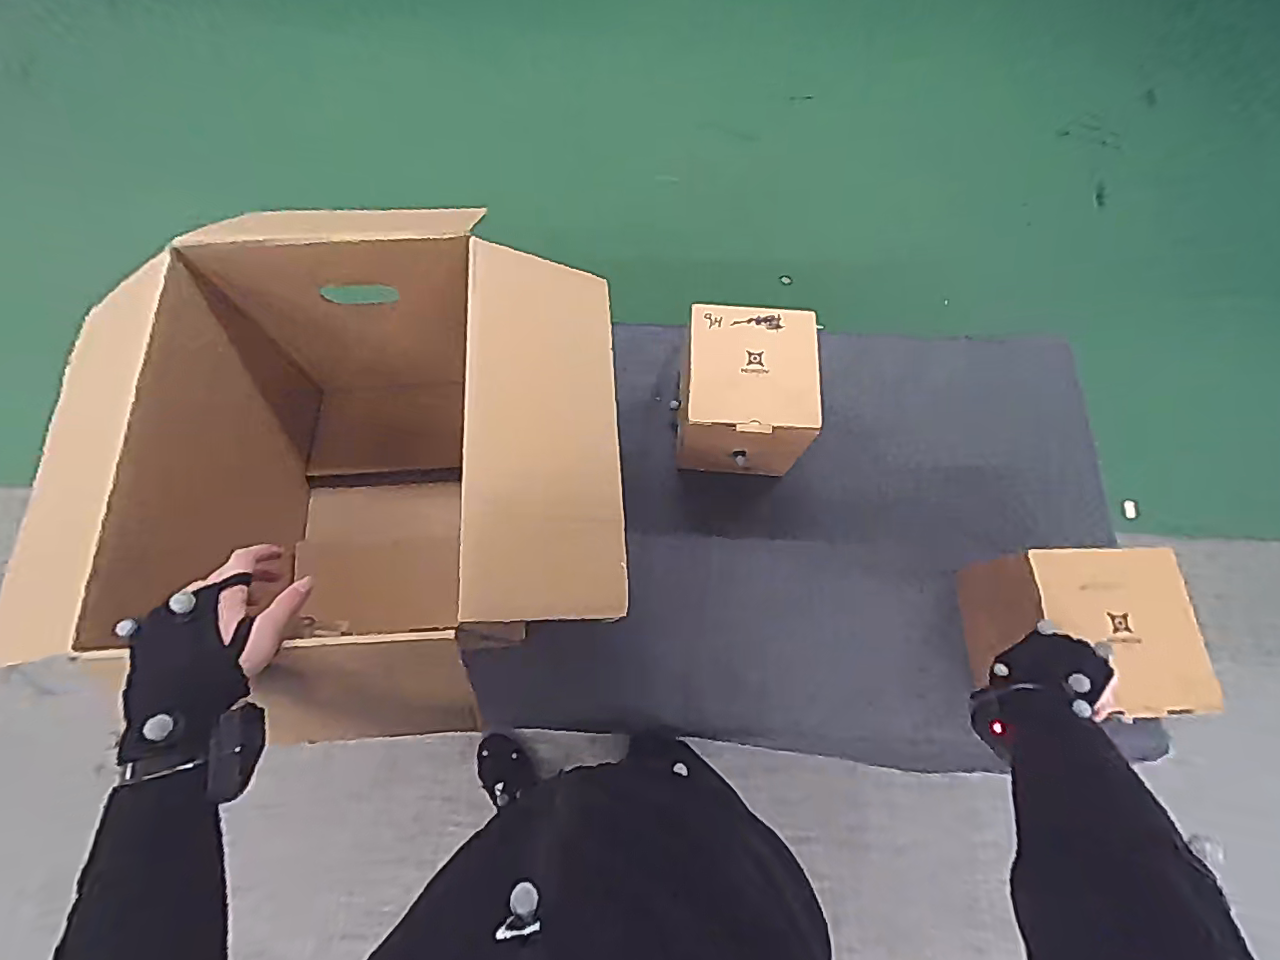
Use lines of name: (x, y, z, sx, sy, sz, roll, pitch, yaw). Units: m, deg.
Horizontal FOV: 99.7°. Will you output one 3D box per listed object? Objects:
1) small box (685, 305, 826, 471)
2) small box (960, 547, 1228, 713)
small box: (0.156, -0.122, 0.772, 0.168, 0.176, 0.179, 5, 72, 0)
small box: (0.531, 0.185, 0.666, 0.168, 0.176, 0.179, -1, 70, 1)
